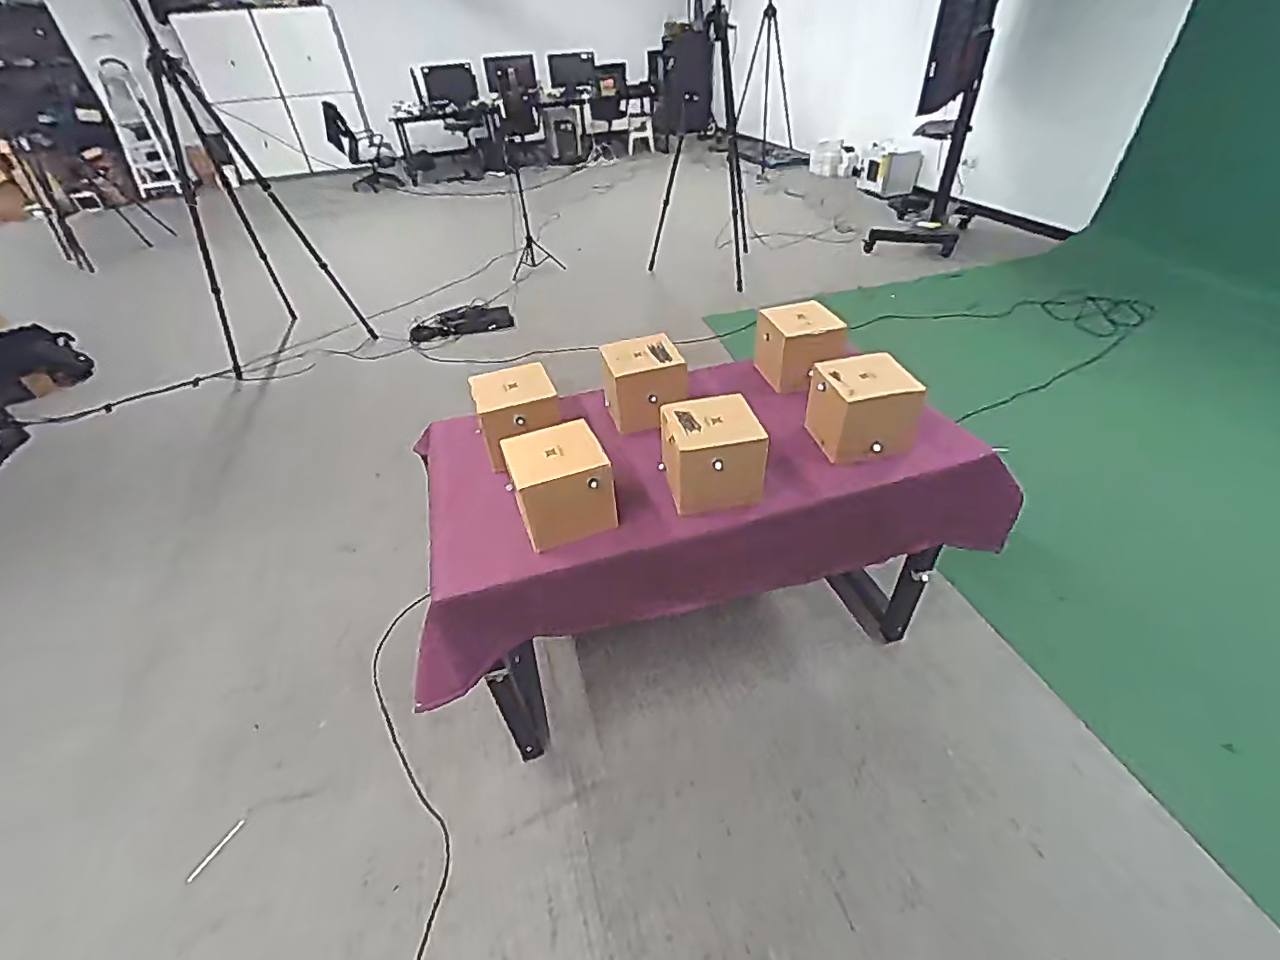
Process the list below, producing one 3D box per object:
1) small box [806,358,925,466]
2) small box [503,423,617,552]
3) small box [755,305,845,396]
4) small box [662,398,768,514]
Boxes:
[{"bbox_3d":[0.492,-0.152,1.209,0.179,0.176,0.168,-9,40,-5],"label":"small box"},{"bbox_3d":[-0.156,0.016,1.071,0.179,0.176,0.168,-16,41,-16],"label":"small box"},{"bbox_3d":[0.418,-0.347,1.444,0.168,0.176,0.179,-12,41,-7],"label":"small box"},{"bbox_3d":[0.148,-0.047,1.116,0.179,0.176,0.168,-9,40,-6],"label":"small box"}]
